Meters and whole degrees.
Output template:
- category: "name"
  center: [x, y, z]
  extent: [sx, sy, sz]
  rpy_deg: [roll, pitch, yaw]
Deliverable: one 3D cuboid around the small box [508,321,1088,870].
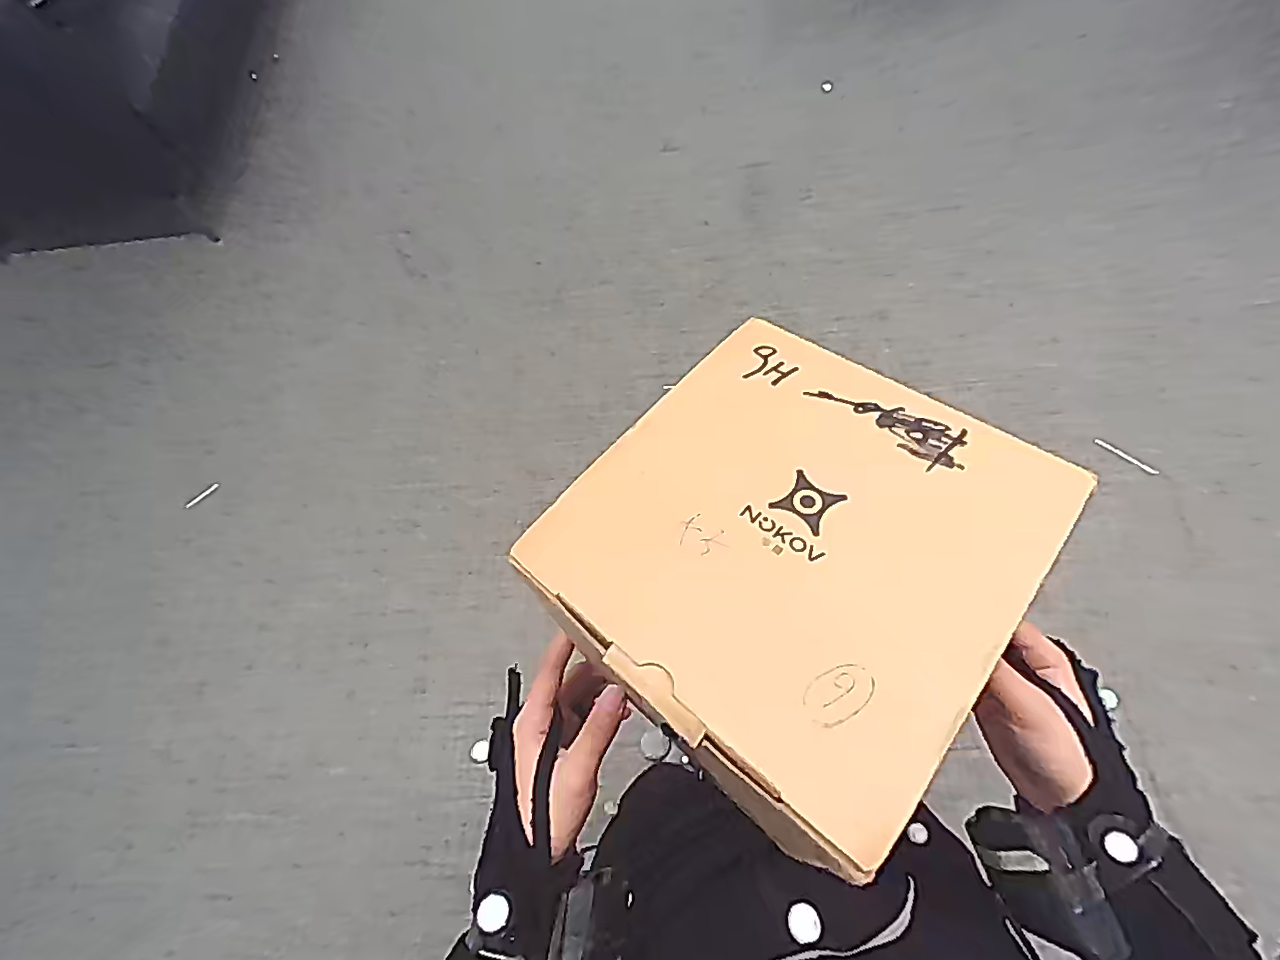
- category: "small box"
  center: [0.070, 0.059, 0.284]
  extent: [0.168, 0.176, 0.179]
  rpy_deg: [35, 69, 26]
